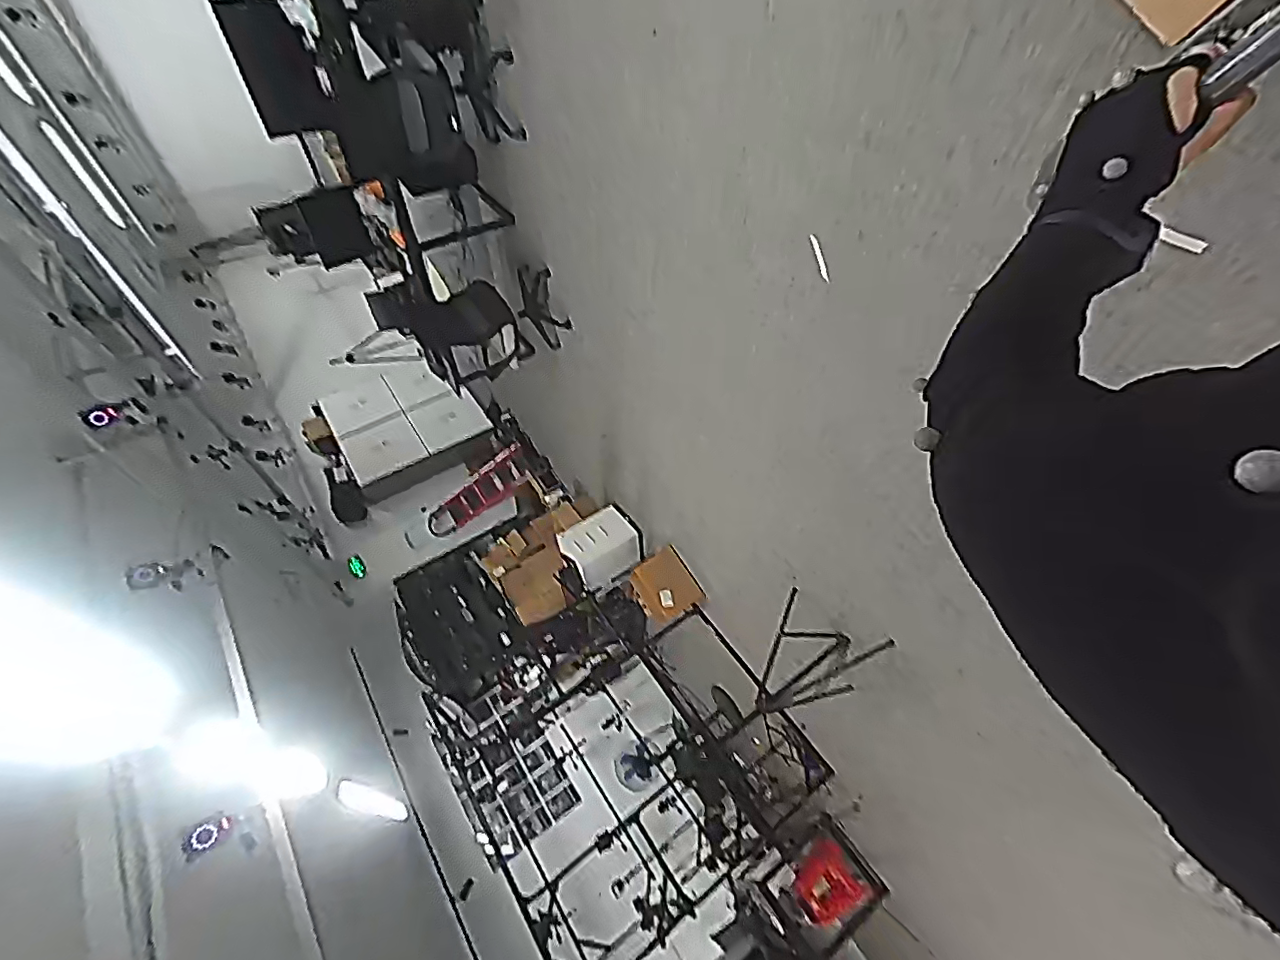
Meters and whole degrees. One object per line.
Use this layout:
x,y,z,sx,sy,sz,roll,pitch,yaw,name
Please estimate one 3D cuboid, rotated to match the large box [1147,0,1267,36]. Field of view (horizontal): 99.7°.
0.737,-0.788,0.546,0.320,0.320,0.408,54,158,6,large box
